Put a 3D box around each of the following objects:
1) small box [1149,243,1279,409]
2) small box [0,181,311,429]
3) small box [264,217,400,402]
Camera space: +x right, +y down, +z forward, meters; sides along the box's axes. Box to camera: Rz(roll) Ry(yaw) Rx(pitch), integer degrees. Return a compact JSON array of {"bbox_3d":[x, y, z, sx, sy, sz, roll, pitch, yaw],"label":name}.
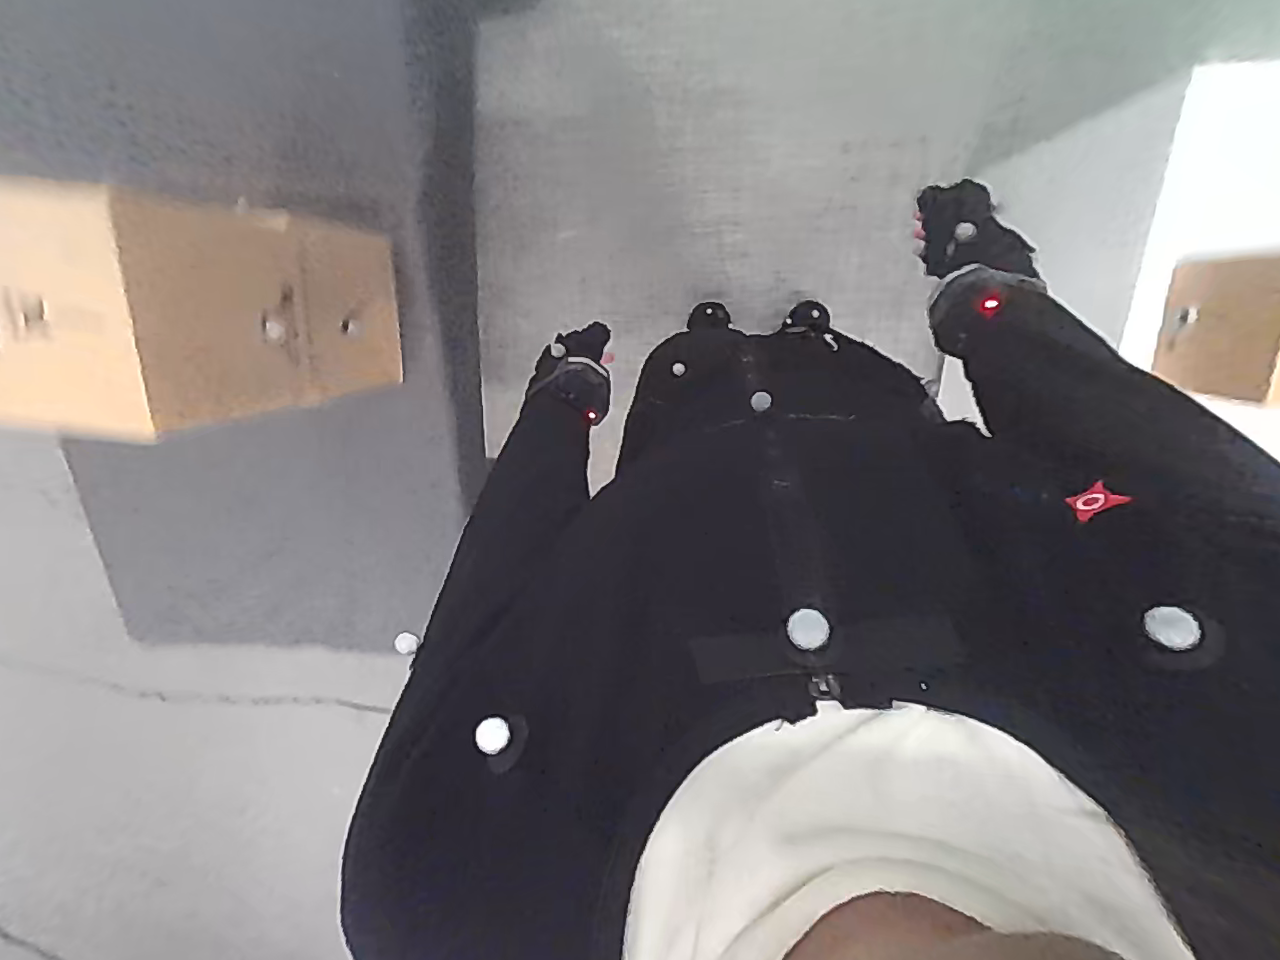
[{"bbox_3d":[0.740,-0.179,0.603,0.179,0.176,0.168,-2,107,10],"label":"small box"},{"bbox_3d":[-0.427,-0.146,0.461,0.179,0.176,0.168,5,109,10],"label":"small box"},{"bbox_3d":[-0.397,-0.196,0.615,0.168,0.176,0.179,5,109,8],"label":"small box"}]
